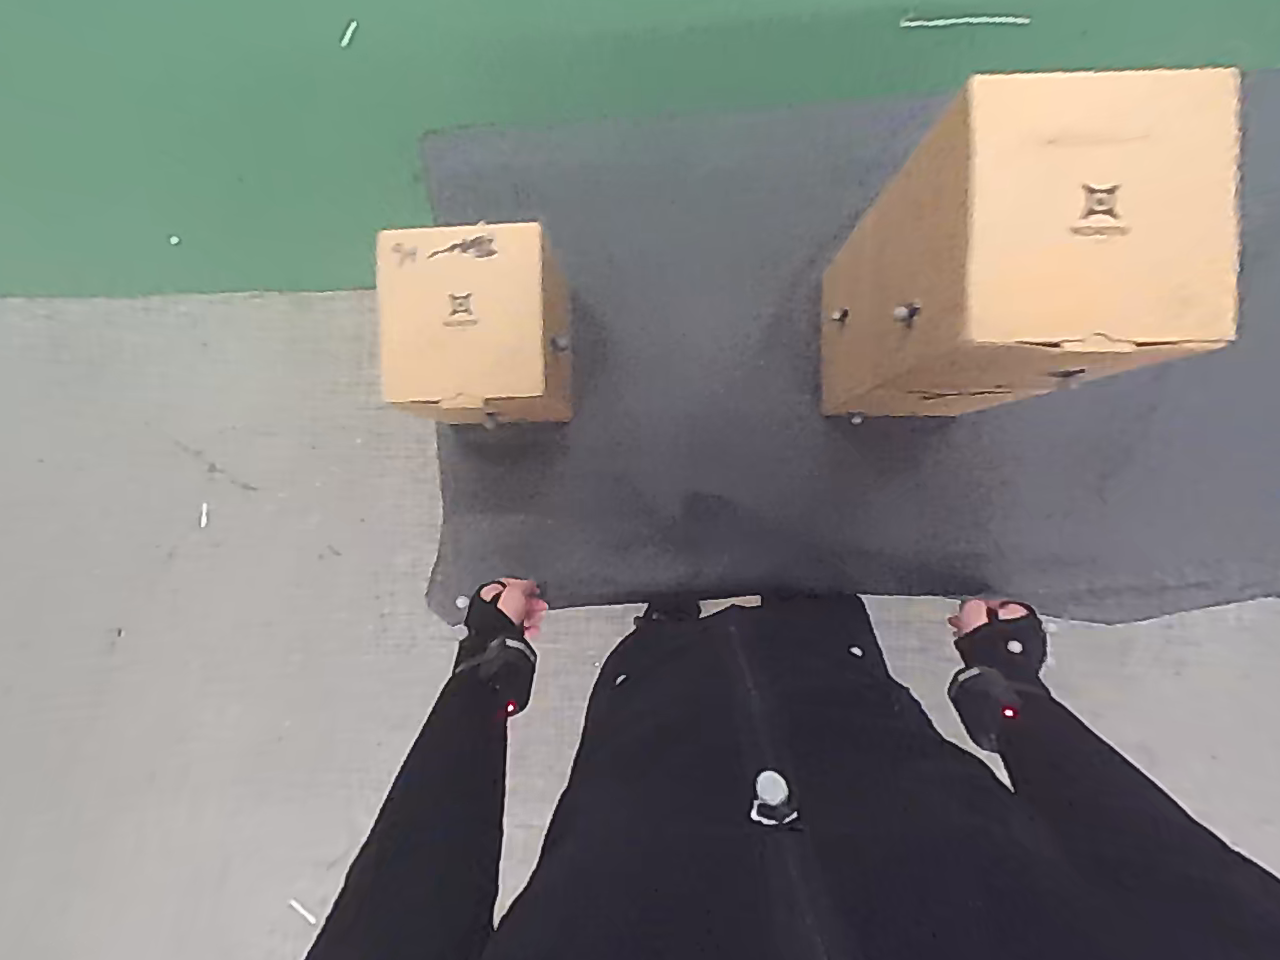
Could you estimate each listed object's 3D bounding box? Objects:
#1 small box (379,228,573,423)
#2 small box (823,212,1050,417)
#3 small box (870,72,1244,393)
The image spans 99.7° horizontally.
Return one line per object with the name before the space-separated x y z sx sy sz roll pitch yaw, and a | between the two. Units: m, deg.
small box | -0.169 -0.157 0.607 0.168 0.176 0.179 -2 90 2
small box | 0.302 -0.162 0.579 0.168 0.176 0.179 0 89 3
small box | 0.292 -0.165 0.418 0.168 0.176 0.179 0 88 2
